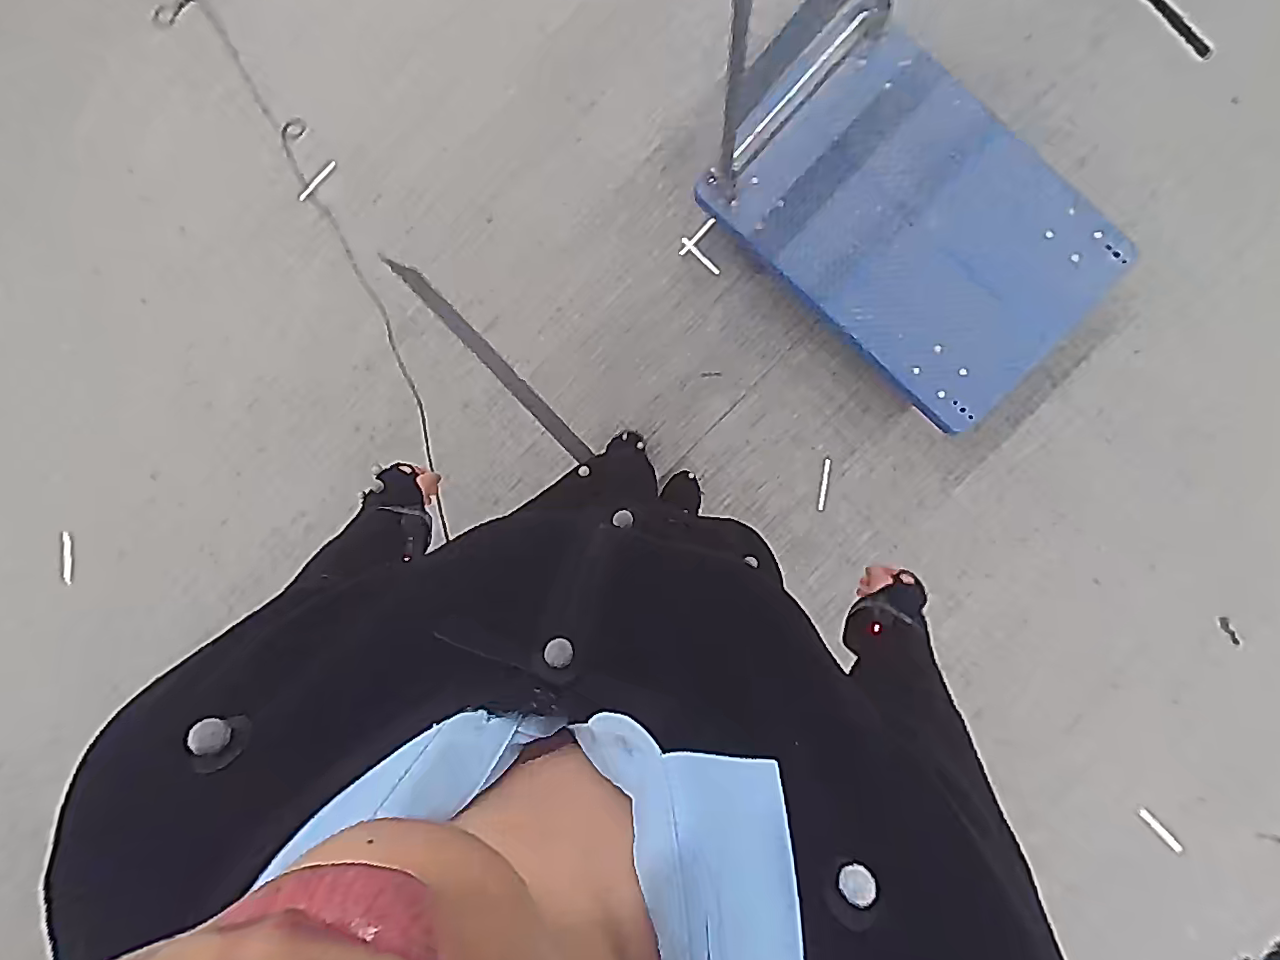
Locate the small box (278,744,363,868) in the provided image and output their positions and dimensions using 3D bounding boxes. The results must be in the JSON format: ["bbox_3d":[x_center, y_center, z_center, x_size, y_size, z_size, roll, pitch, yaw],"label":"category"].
[{"bbox_3d":[-0.820,0.789,1.309,0.179,0.176,0.168,-41,90,3],"label":"small box"}]

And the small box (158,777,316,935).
[{"bbox_3d":[-0.840,0.785,1.147,0.168,0.176,0.179,38,93,2],"label":"small box"}]
